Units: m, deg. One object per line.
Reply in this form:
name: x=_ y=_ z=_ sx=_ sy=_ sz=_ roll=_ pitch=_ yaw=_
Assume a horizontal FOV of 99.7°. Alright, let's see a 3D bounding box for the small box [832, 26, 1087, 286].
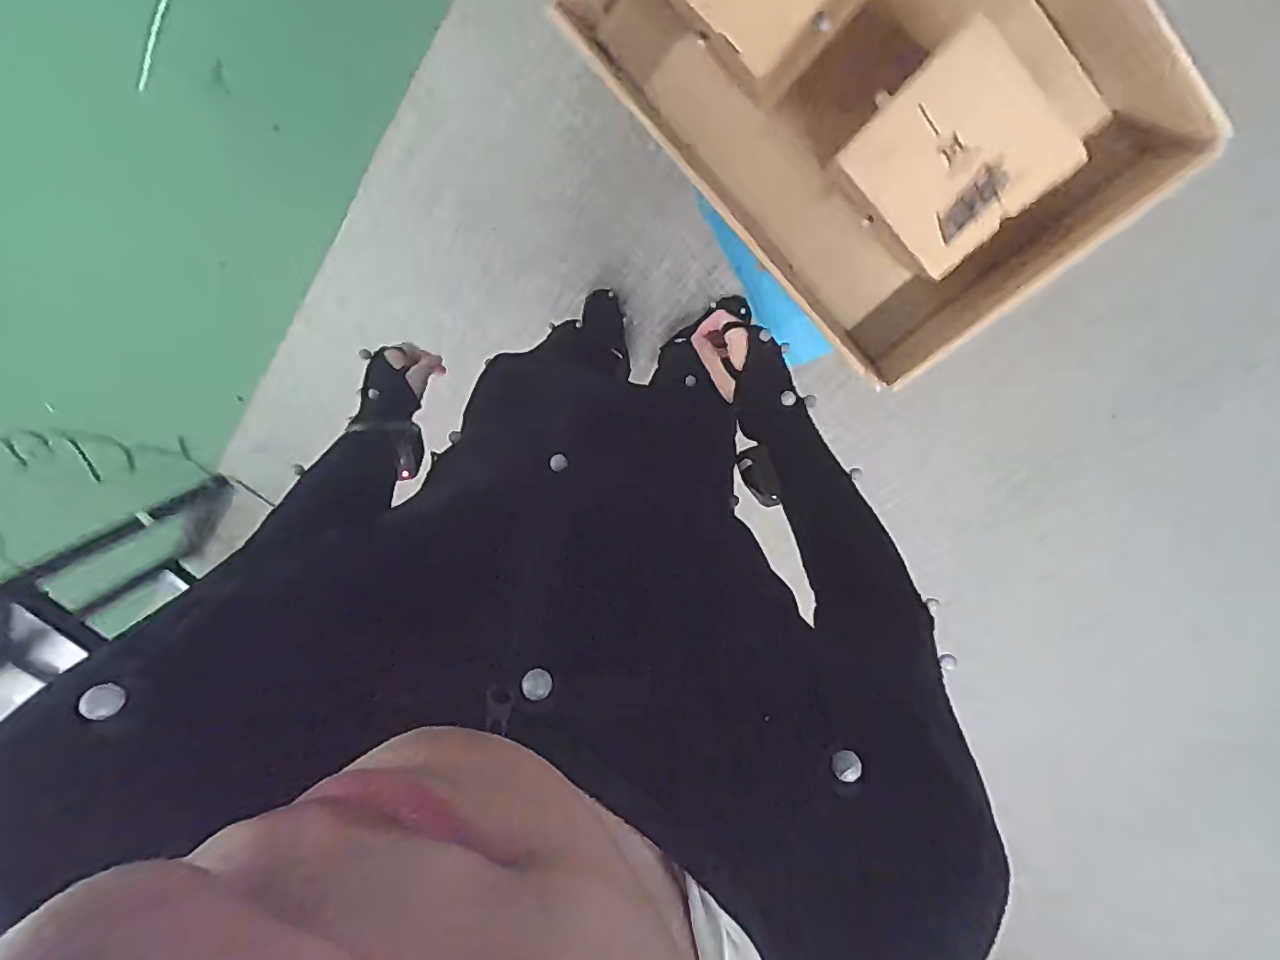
small box: x=0.346 y=-0.354 z=0.623 sx=0.179 sy=0.176 sz=0.168 roll=46 pitch=116 yaw=-8
